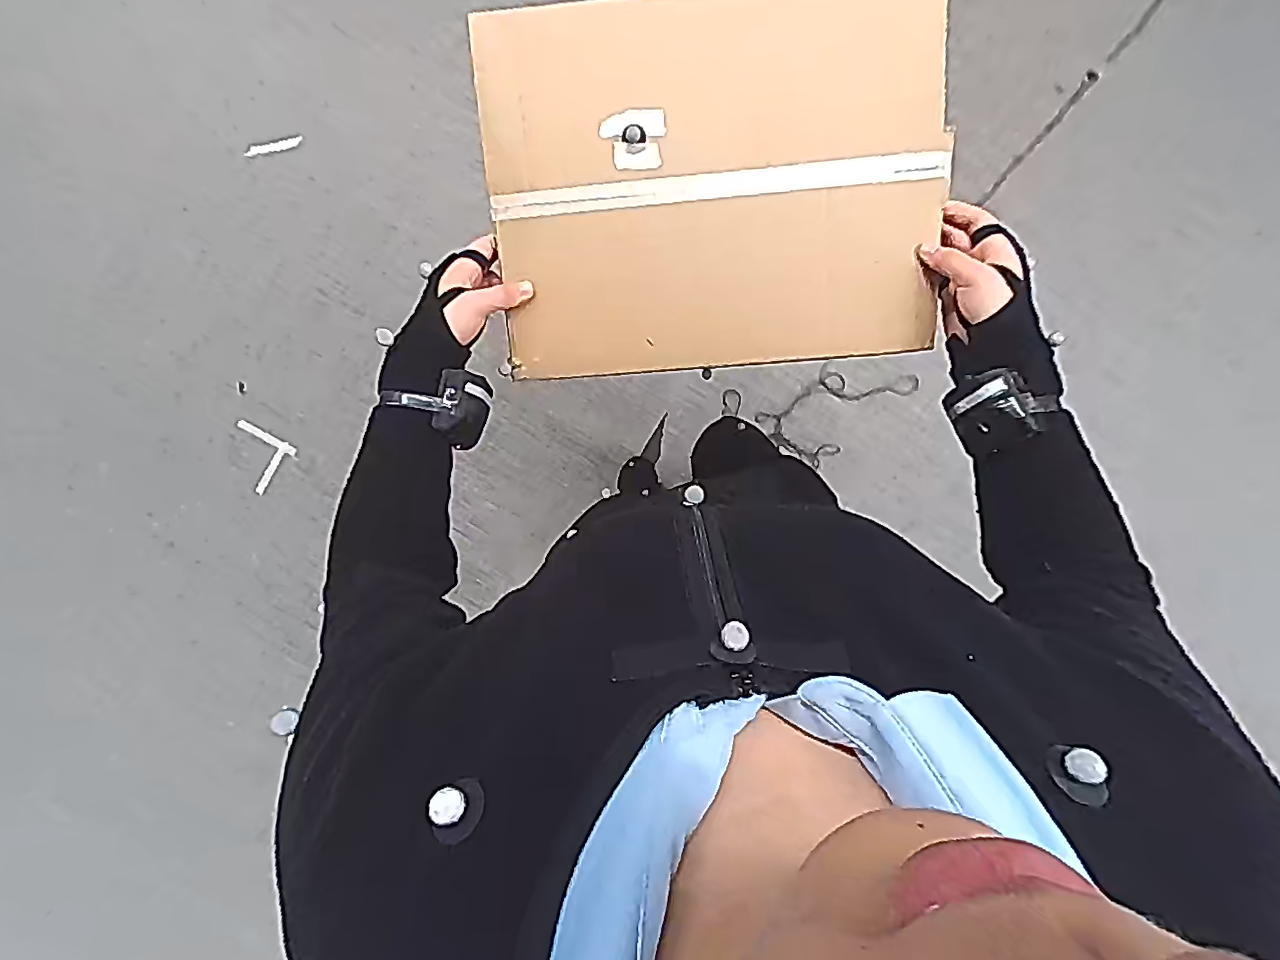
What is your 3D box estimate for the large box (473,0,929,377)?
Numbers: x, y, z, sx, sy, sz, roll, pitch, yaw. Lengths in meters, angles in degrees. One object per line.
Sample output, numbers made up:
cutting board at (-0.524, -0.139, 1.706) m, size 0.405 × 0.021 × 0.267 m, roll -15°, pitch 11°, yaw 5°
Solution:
large box at (0.070, -0.304, 0.643) m, size 0.408 × 0.320 × 0.320 m, roll -5°, pitch 102°, yaw 4°
